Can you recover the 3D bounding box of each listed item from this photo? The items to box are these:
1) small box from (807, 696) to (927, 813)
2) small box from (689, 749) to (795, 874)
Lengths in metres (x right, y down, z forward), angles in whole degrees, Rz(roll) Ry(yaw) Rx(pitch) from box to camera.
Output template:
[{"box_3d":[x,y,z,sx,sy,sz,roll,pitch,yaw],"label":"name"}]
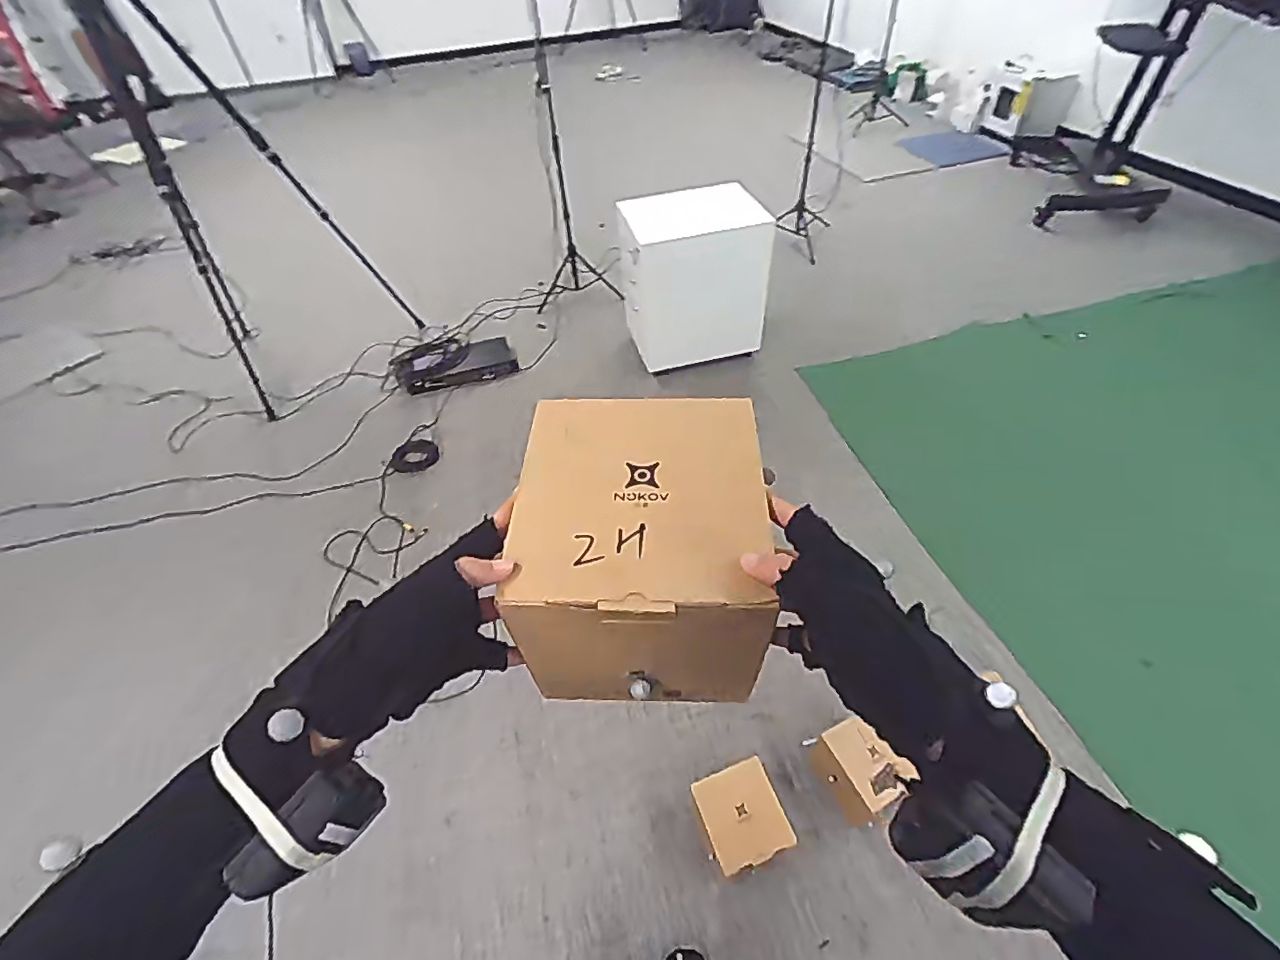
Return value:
[{"box_3d":[0.512,0.638,1.247,0.168,0.176,0.179,-21,50,-15],"label":"small box"},{"box_3d":[0.213,0.730,1.188,0.168,0.176,0.179,-19,51,-11],"label":"small box"}]
